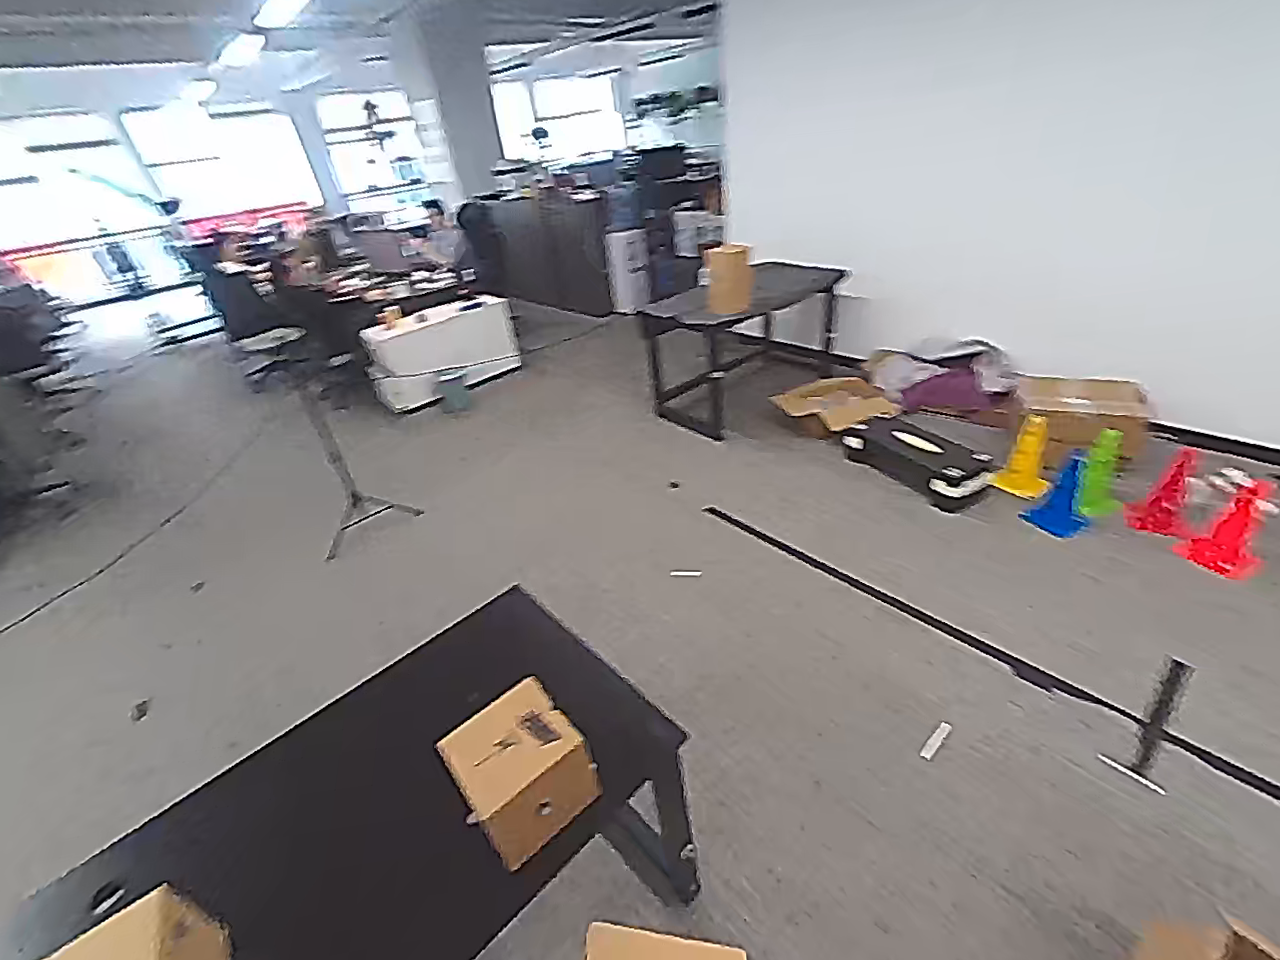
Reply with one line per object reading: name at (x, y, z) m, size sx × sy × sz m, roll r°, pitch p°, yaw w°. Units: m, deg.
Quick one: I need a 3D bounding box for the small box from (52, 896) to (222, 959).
small box at (-0.652, 0.688, 0.673) m, size 0.168 × 0.176 × 0.179 m, roll -28°, pitch 38°, yaw -27°

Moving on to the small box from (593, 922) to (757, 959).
small box at (0.021, 0.598, 0.542) m, size 0.179 × 0.176 × 0.168 m, roll 9°, pitch 24°, yaw 2°

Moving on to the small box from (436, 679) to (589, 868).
small box at (-0.199, 0.477, 0.888) m, size 0.179 × 0.176 × 0.168 m, roll -31°, pitch 39°, yaw -29°
